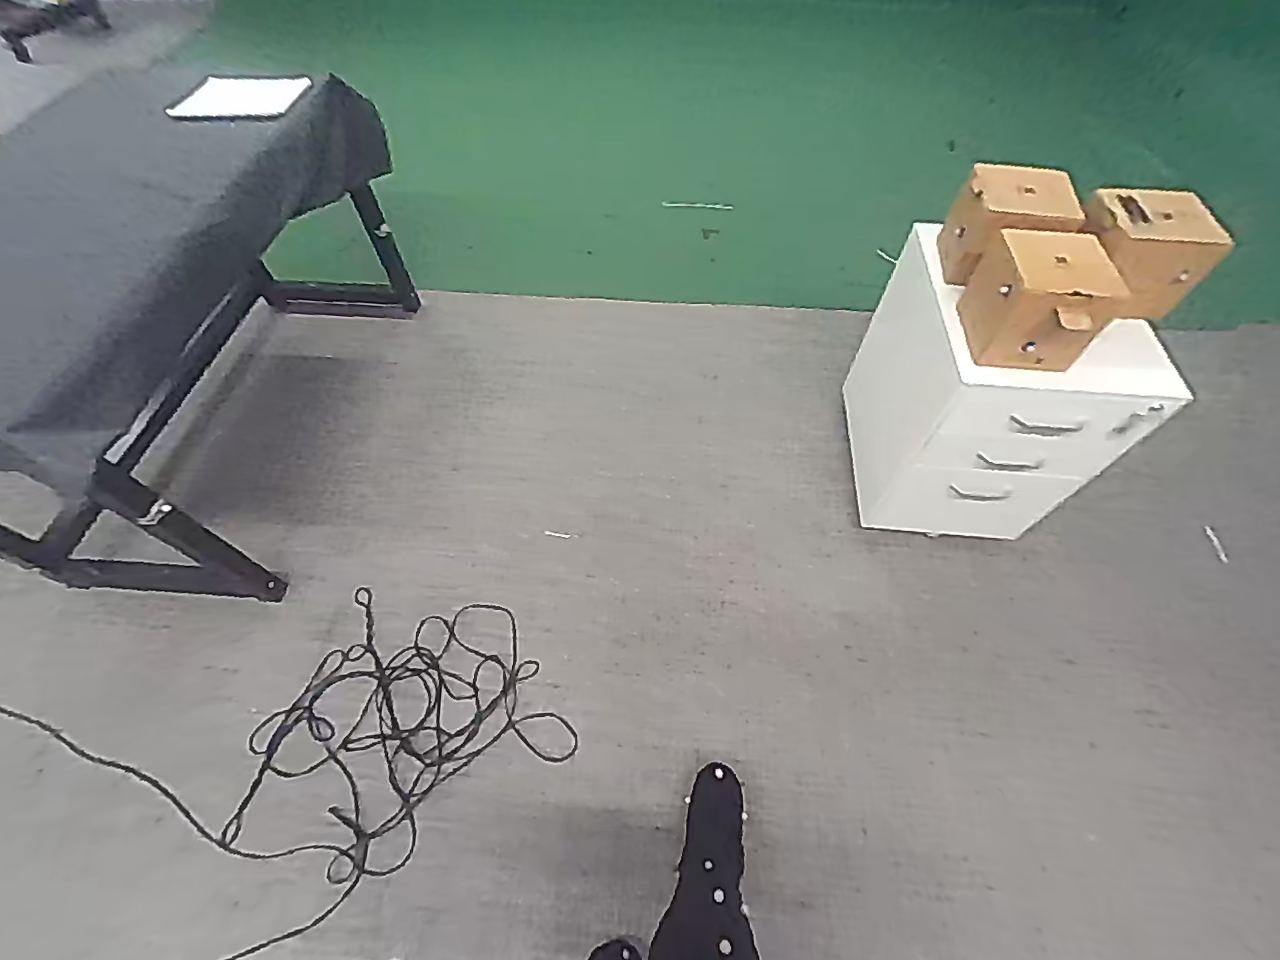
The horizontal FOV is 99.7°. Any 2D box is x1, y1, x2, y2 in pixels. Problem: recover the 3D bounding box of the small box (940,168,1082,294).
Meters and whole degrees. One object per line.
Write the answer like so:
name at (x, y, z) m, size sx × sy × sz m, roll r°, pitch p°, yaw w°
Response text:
small box at (0.735, -0.502, 1.099) m, size 0.179 × 0.176 × 0.168 m, roll 9°, pitch 59°, yaw 5°
